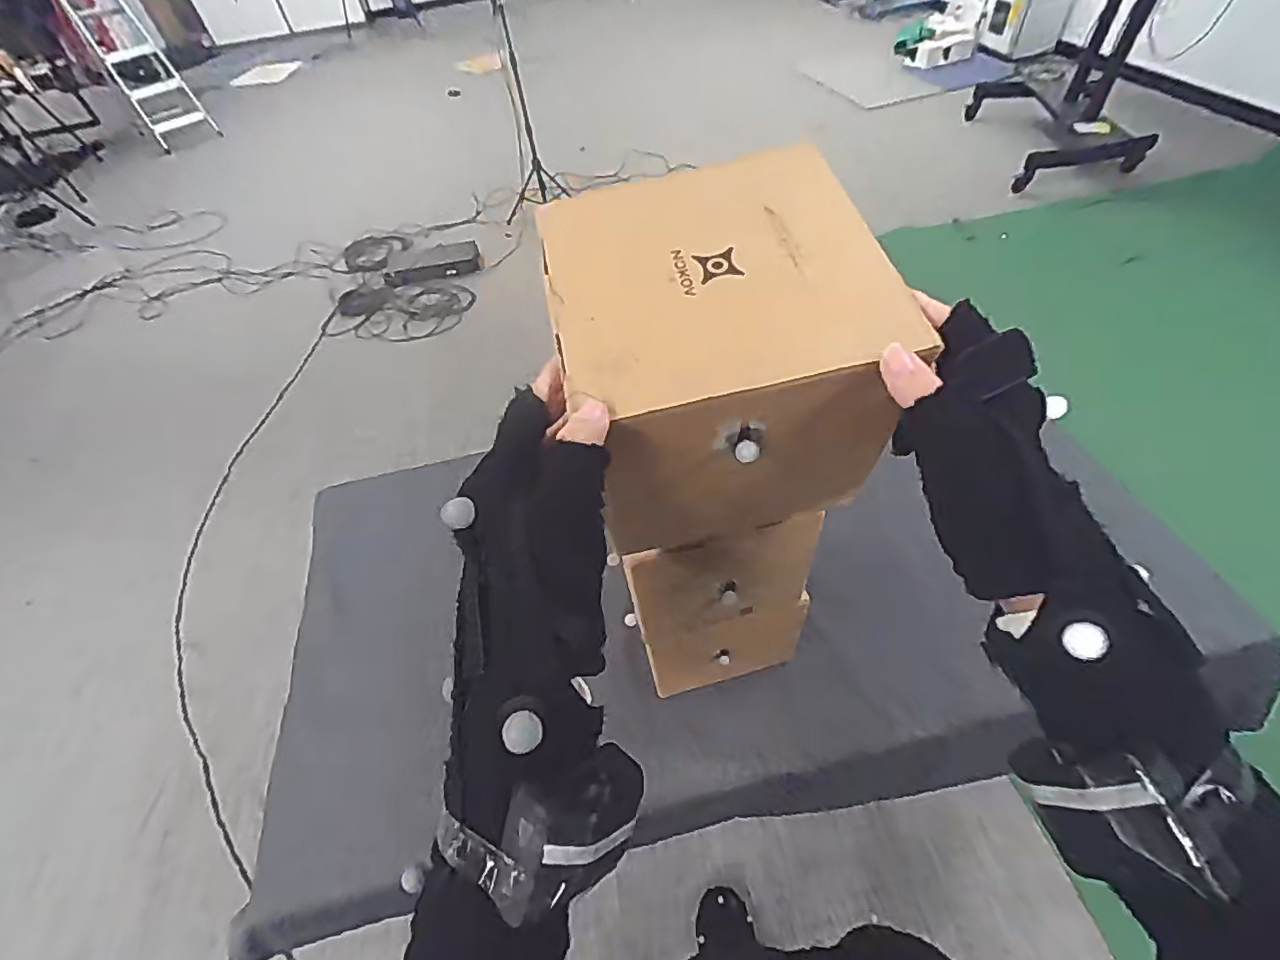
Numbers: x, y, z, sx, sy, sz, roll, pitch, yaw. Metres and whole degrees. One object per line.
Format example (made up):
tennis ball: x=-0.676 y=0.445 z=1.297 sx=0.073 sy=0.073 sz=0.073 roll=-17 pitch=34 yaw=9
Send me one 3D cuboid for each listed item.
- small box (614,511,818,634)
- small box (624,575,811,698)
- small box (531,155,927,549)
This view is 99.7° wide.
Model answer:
small box: x=0.053 y=0.035 z=0.535 sx=0.168 sy=0.176 sz=0.179 roll=-15 pitch=51 yaw=-5
small box: x=0.078 y=0.139 z=0.658 sx=0.179 sy=0.176 sz=0.168 roll=-16 pitch=52 yaw=-8
small box: x=0.041 y=-0.070 z=0.354 sx=0.179 sy=0.176 sz=0.168 roll=-12 pitch=61 yaw=-2
